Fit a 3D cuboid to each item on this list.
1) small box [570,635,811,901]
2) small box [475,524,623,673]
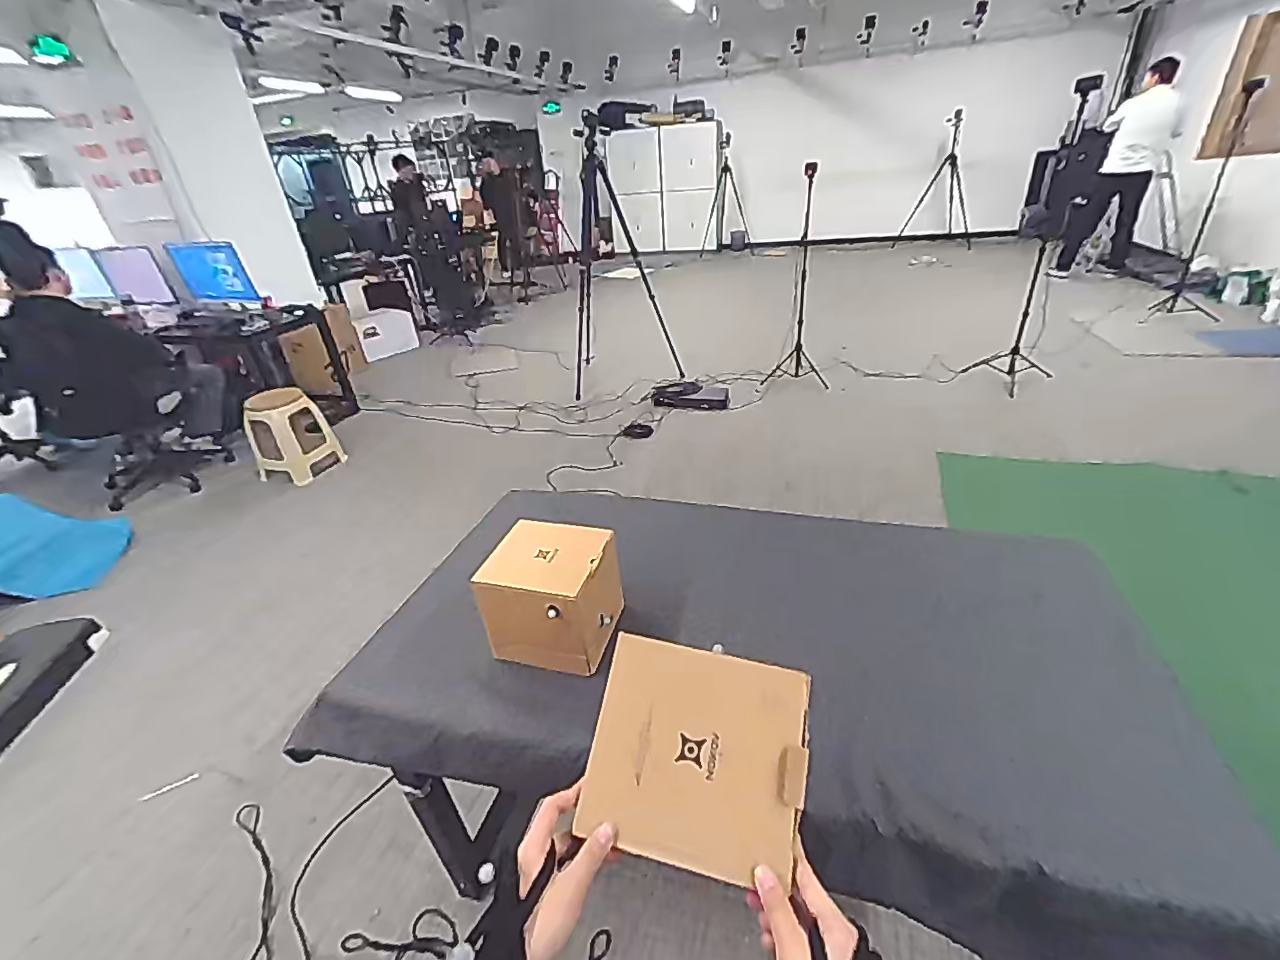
[{"bbox_3d":[0.055,0.263,0.517,0.179,0.176,0.168,8,62,12],"label":"small box"},{"bbox_3d":[-0.138,0.191,0.888,0.179,0.176,0.168,4,31,16],"label":"small box"}]
